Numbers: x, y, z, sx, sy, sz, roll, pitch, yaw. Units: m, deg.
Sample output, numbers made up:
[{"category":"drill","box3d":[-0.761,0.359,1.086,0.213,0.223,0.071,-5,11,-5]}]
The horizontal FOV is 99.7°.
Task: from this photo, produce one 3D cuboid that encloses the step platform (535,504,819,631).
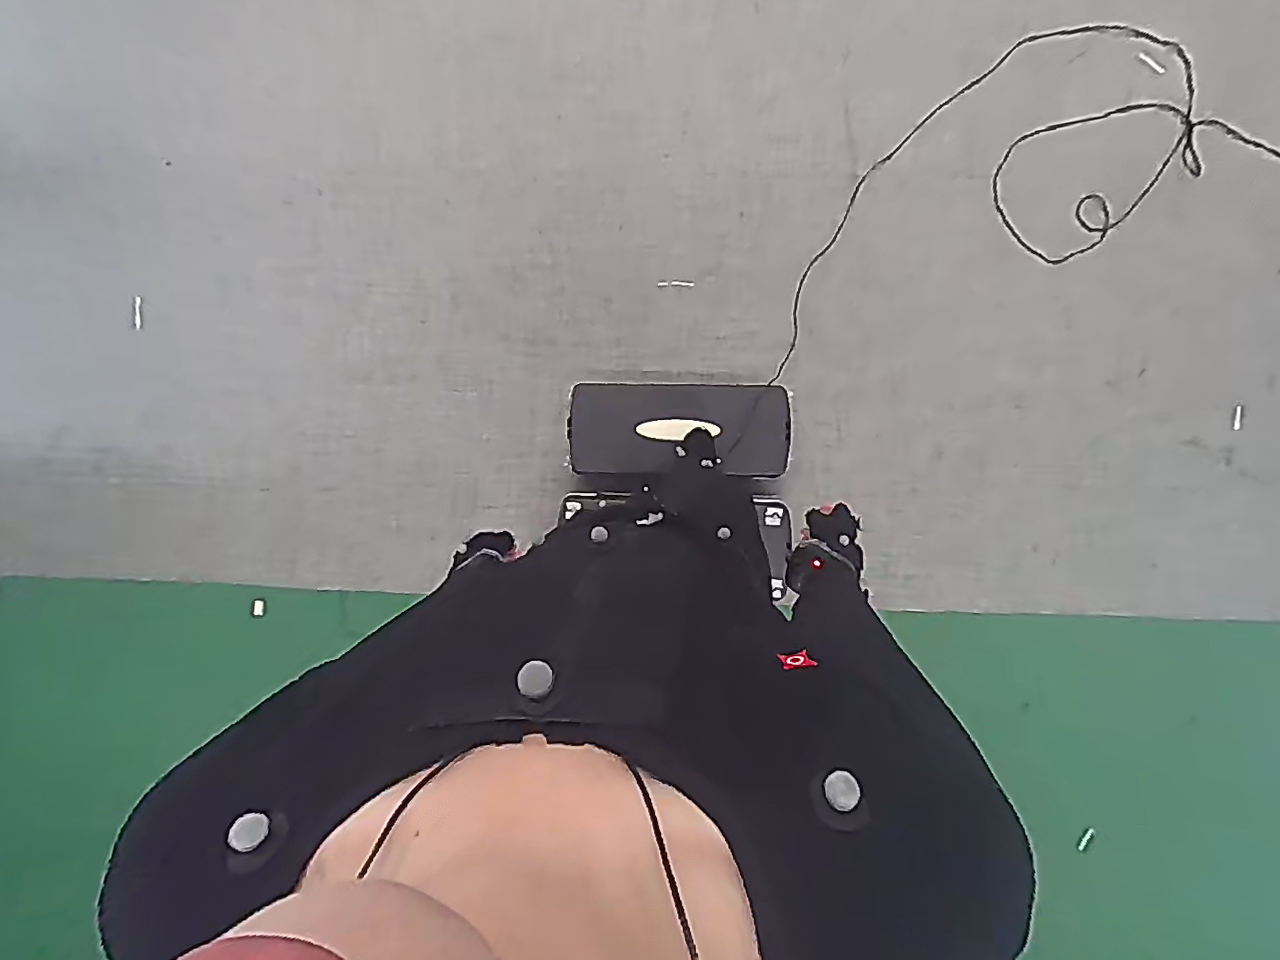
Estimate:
[{"category":"step platform","box3d":[0.090,0.212,1.387,0.684,0.204,0.286,1,91,1]}]
